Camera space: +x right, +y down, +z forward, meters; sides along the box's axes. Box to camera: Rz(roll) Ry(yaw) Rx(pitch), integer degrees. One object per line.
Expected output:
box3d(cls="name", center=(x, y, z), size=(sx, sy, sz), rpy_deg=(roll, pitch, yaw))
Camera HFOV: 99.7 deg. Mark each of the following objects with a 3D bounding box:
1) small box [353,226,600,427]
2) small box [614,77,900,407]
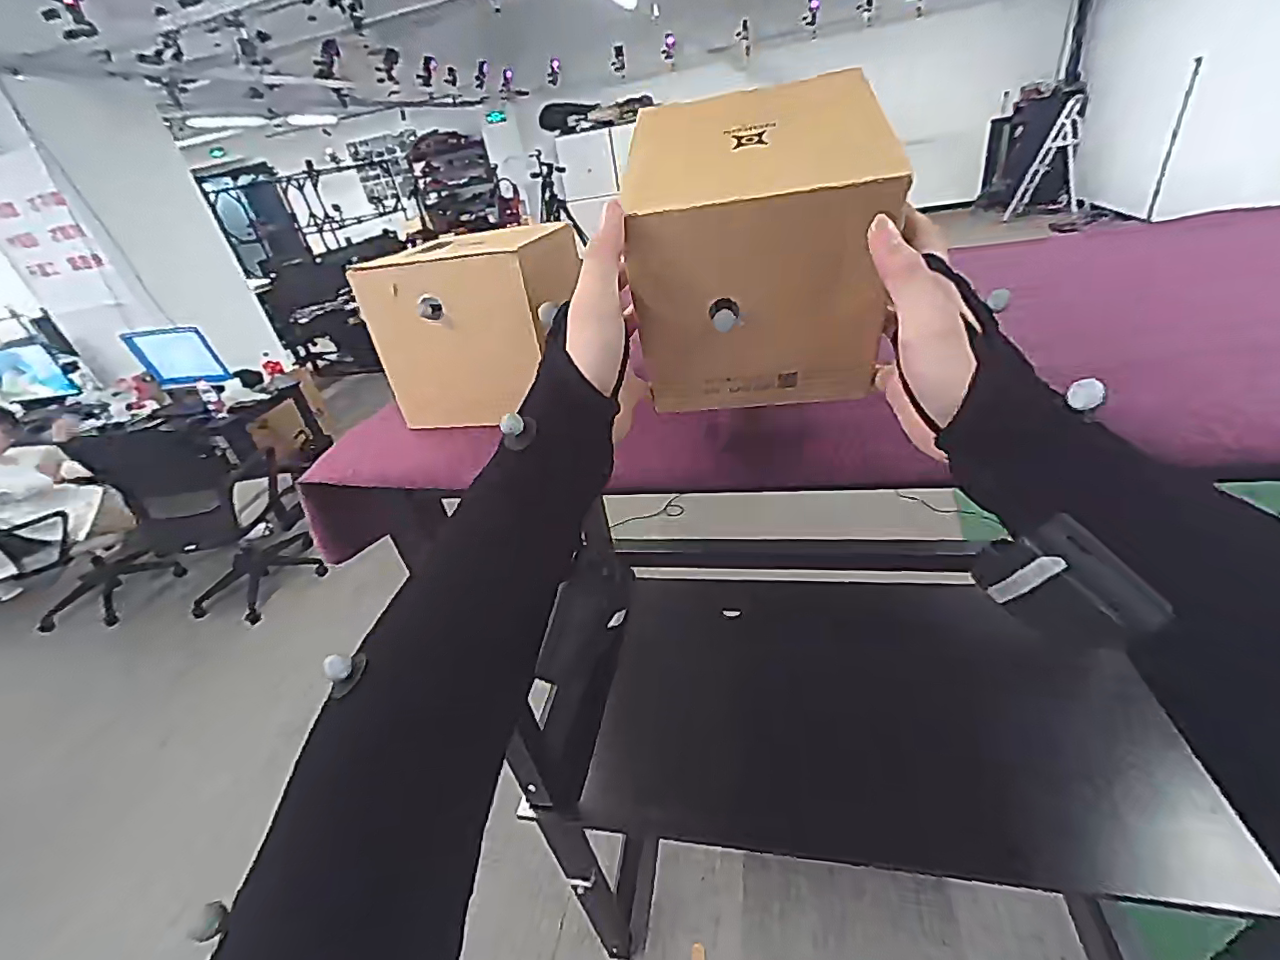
box3d(cls="small box", center=(-0.158, -0.164, 0.587), size=(0.179, 0.176, 0.168), rpy_deg=(0, 32, 15))
box3d(cls="small box", center=(0.087, -0.170, 0.419), size=(0.168, 0.176, 0.179), rpy_deg=(-3, 51, 12))
